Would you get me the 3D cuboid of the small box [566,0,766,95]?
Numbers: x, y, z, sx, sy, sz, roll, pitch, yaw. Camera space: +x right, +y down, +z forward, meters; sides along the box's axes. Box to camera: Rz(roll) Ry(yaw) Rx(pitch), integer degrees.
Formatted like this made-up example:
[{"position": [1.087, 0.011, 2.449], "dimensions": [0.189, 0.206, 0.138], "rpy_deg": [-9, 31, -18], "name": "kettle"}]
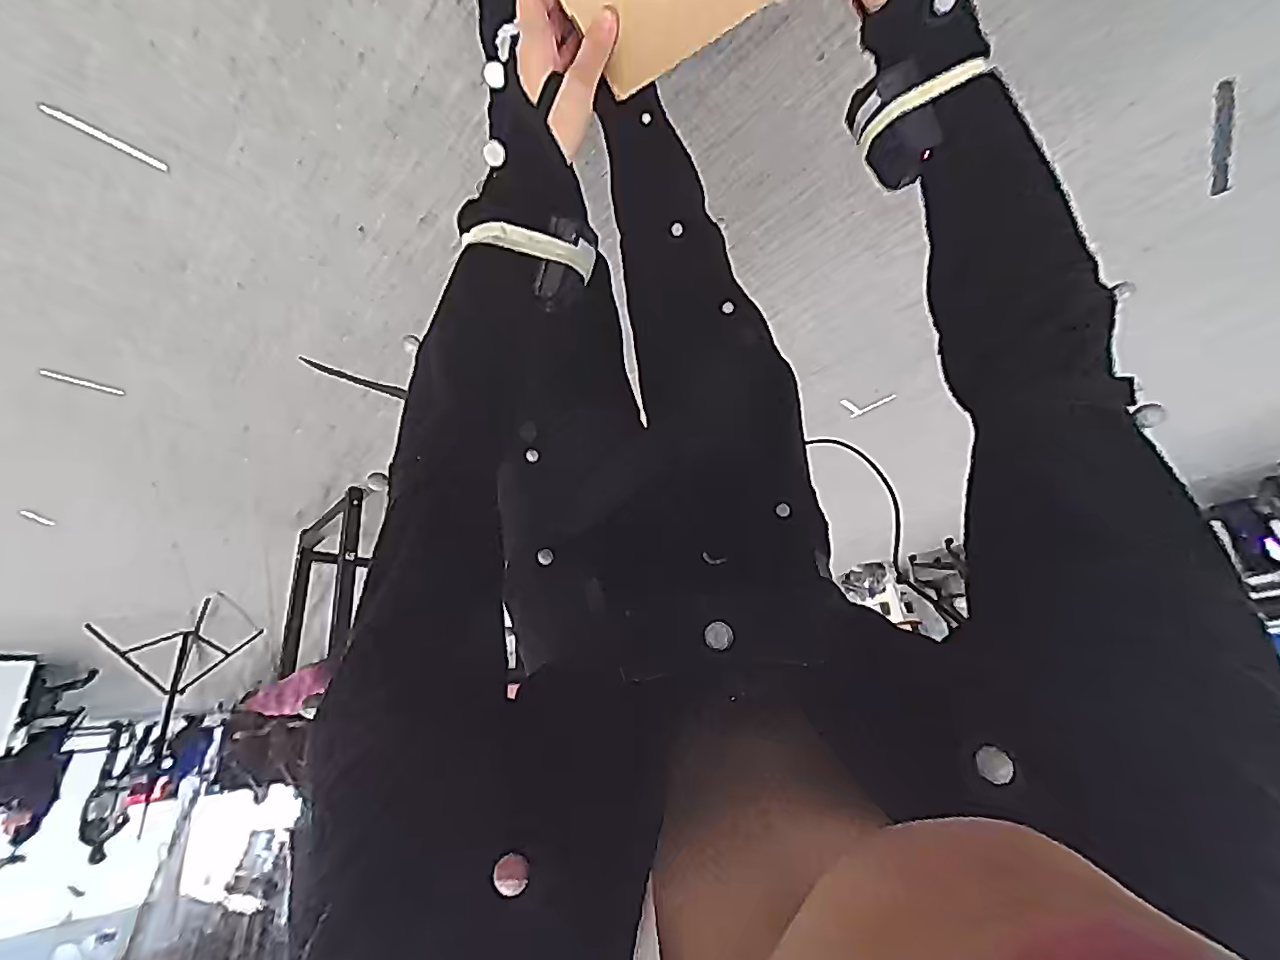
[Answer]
[{"position": [0.019, -0.419, 0.357], "dimensions": [0.179, 0.176, 0.168], "rpy_deg": [-16, 143, 27], "name": "small box"}]
